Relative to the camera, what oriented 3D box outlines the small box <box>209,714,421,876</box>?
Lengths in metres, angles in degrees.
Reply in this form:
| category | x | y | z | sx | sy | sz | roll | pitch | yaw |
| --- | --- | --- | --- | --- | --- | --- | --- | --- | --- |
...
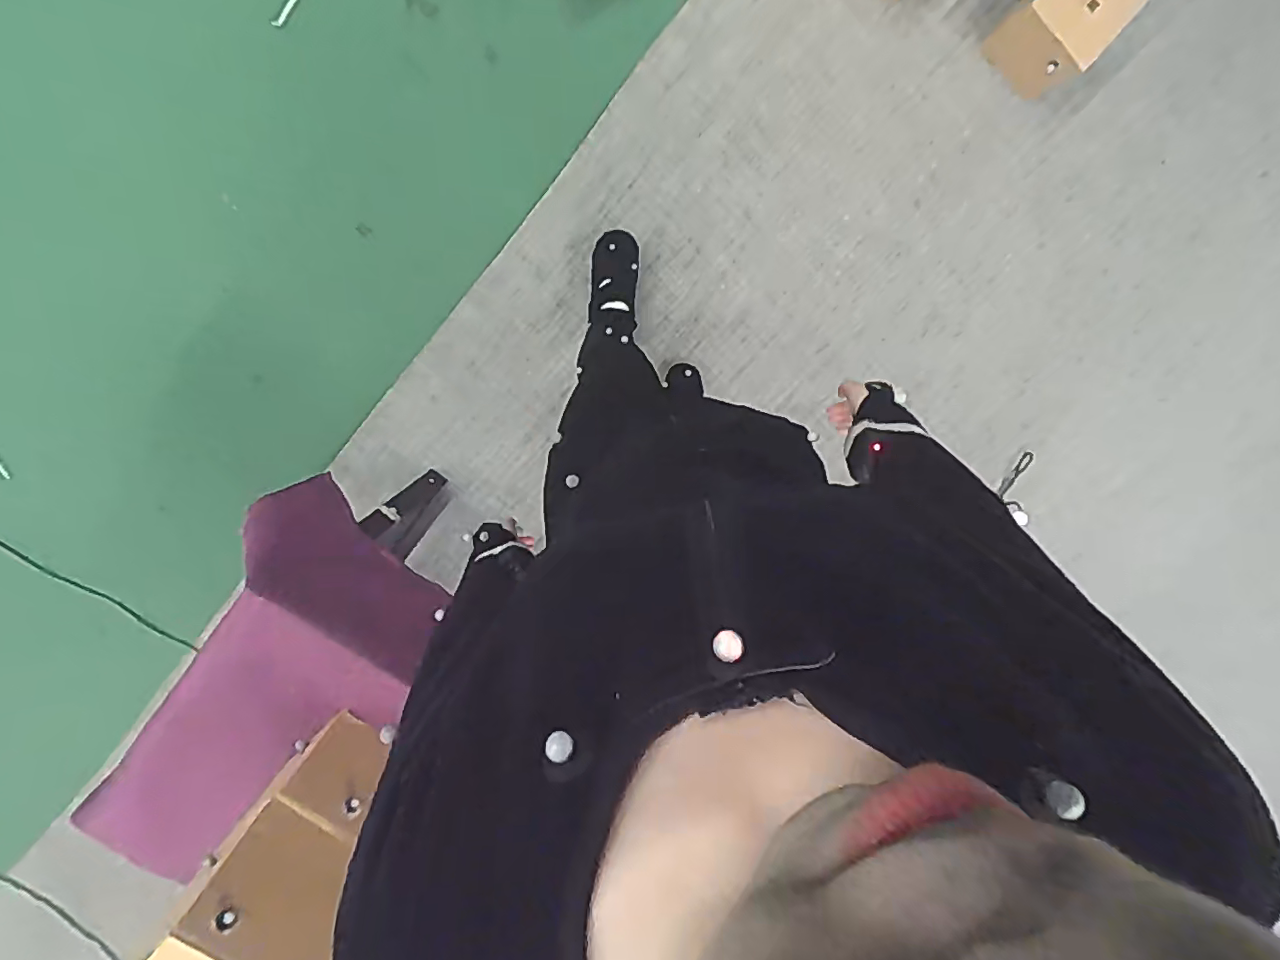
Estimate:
| category | x | y | z | sx | sy | sz | roll | pitch | yaw |
| --- | --- | --- | --- | --- | --- | --- | --- | --- | --- |
| small box | -0.465 | 0.493 | 0.807 | 0.168 | 0.176 | 0.179 | -43 | 102 | 11 |

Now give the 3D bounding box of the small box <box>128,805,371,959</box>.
| category | x | y | z | sx | sy | sz | roll | pitch | yaw |
| --- | --- | --- | --- | --- | --- | --- | --- | --- | --- |
| small box | -0.469 | 0.543 | 0.652 | 0.179 | 0.176 | 0.168 | 42 | 102 | -11 |

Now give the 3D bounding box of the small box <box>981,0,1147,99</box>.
| category | x | y | z | sx | sy | sz | roll | pitch | yaw |
| --- | --- | --- | --- | --- | --- | --- | --- | --- | --- |
| small box | 0.873 | -0.945 | 1.131 | 0.179 | 0.176 | 0.168 | 39 | 102 | -11 |
